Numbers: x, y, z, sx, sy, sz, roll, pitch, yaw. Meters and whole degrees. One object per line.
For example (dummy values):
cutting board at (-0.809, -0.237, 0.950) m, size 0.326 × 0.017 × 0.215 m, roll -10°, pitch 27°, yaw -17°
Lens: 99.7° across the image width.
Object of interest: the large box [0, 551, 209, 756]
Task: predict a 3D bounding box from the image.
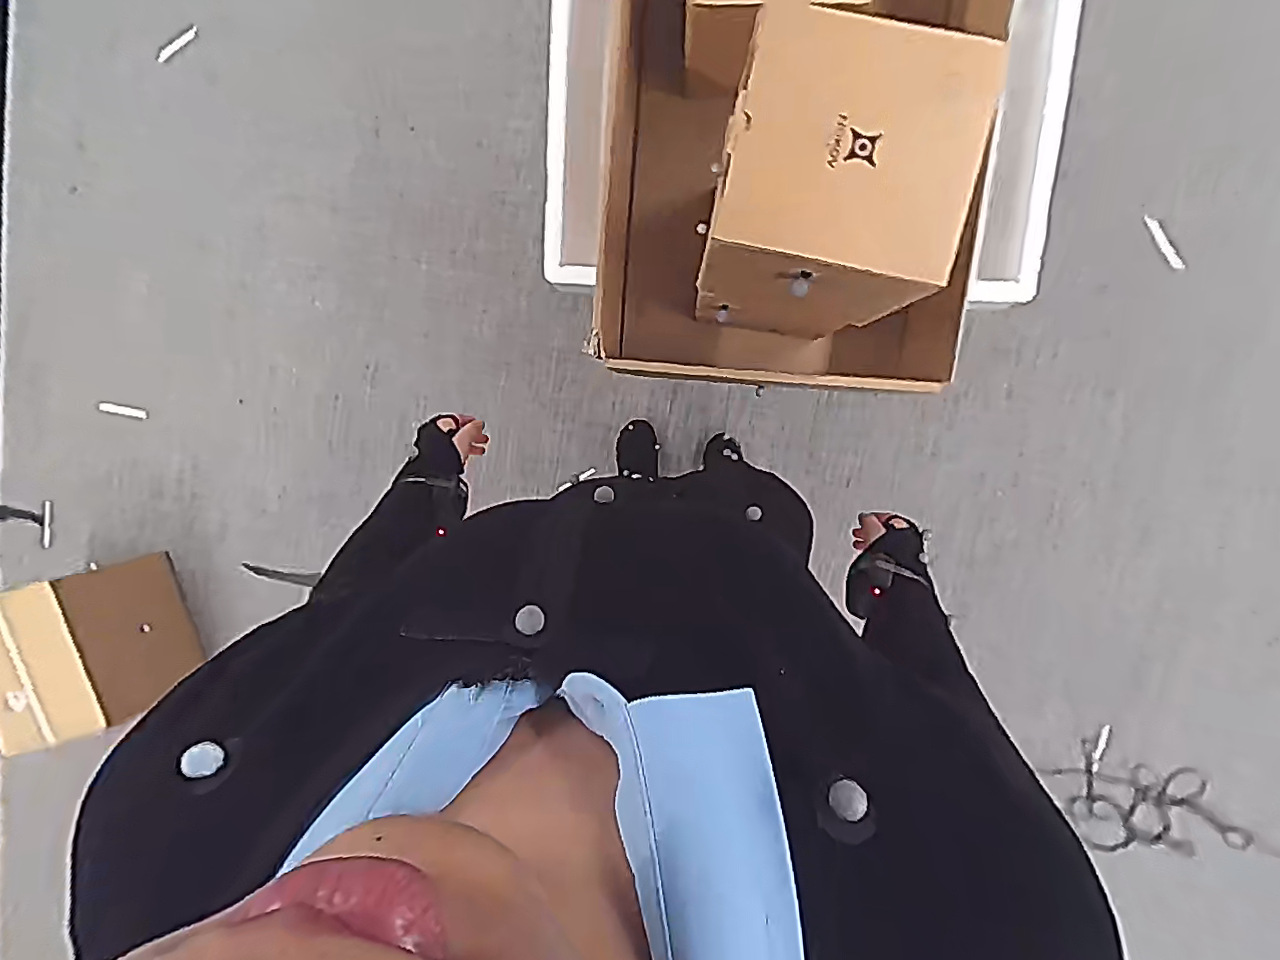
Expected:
large box at (-1.514, 0.456, 1.491) m, size 0.320 × 0.320 × 0.408 m, roll -16°, pitch 96°, yaw 6°

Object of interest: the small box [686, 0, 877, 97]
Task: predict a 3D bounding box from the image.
small box at (0.145, -0.546, 0.581) m, size 0.179 × 0.176 × 0.168 m, roll 2°, pitch 98°, yaw 2°
